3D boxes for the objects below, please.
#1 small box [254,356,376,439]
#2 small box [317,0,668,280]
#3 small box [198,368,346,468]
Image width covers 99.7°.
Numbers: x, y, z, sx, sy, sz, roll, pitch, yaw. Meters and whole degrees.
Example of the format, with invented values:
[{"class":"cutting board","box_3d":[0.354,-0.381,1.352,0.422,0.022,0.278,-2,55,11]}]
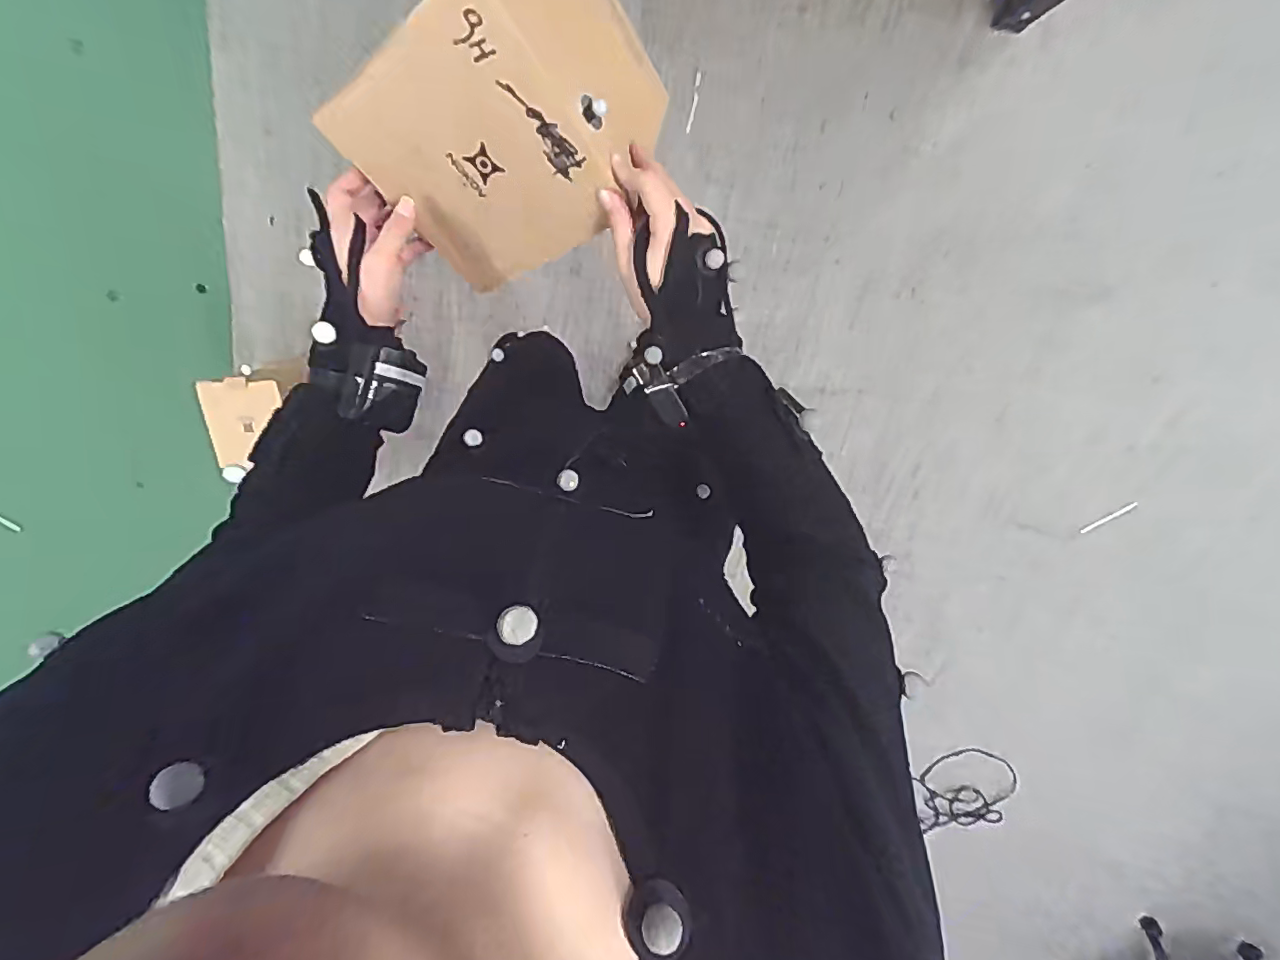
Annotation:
[{"class":"small box","box_3d":[-0.742,-0.197,1.262,0.179,0.176,0.168,2,110,3]},{"class":"small box","box_3d":[-0.098,-0.299,0.424,0.179,0.176,0.168,-9,144,32]},{"class":"small box","box_3d":[-0.742,-0.134,1.112,0.168,0.176,0.179,0,111,5]}]
